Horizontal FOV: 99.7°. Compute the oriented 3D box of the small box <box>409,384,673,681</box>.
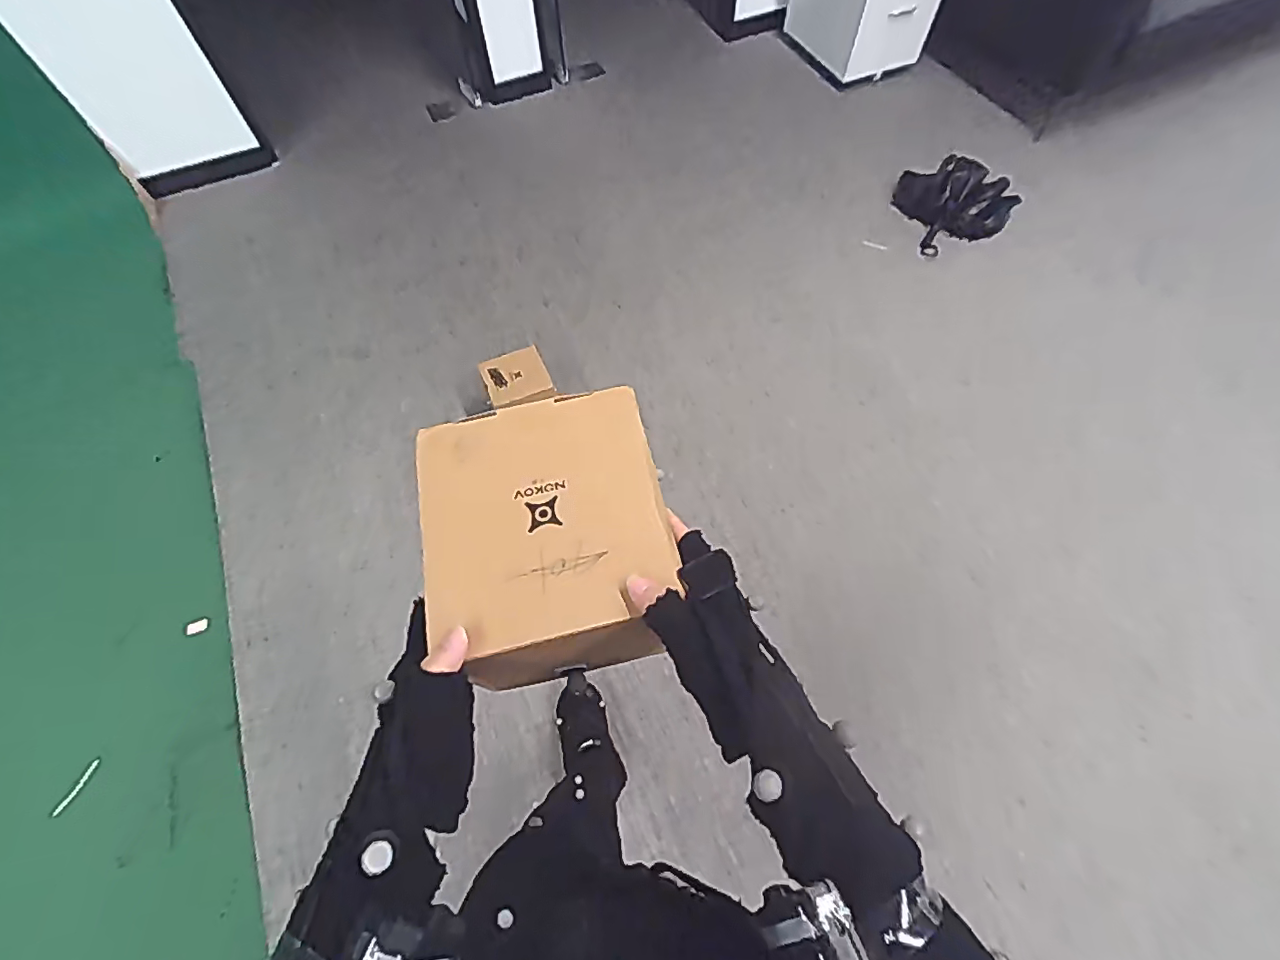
[{"bbox_3d":[-0.074,0.052,0.443,0.168,0.176,0.179,-12,65,-3],"label":"small box"}]

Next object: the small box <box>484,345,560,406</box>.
[{"bbox_3d":[-0.332,-0.259,1.583,0.179,0.176,0.168,-22,65,-10],"label":"small box"}]
